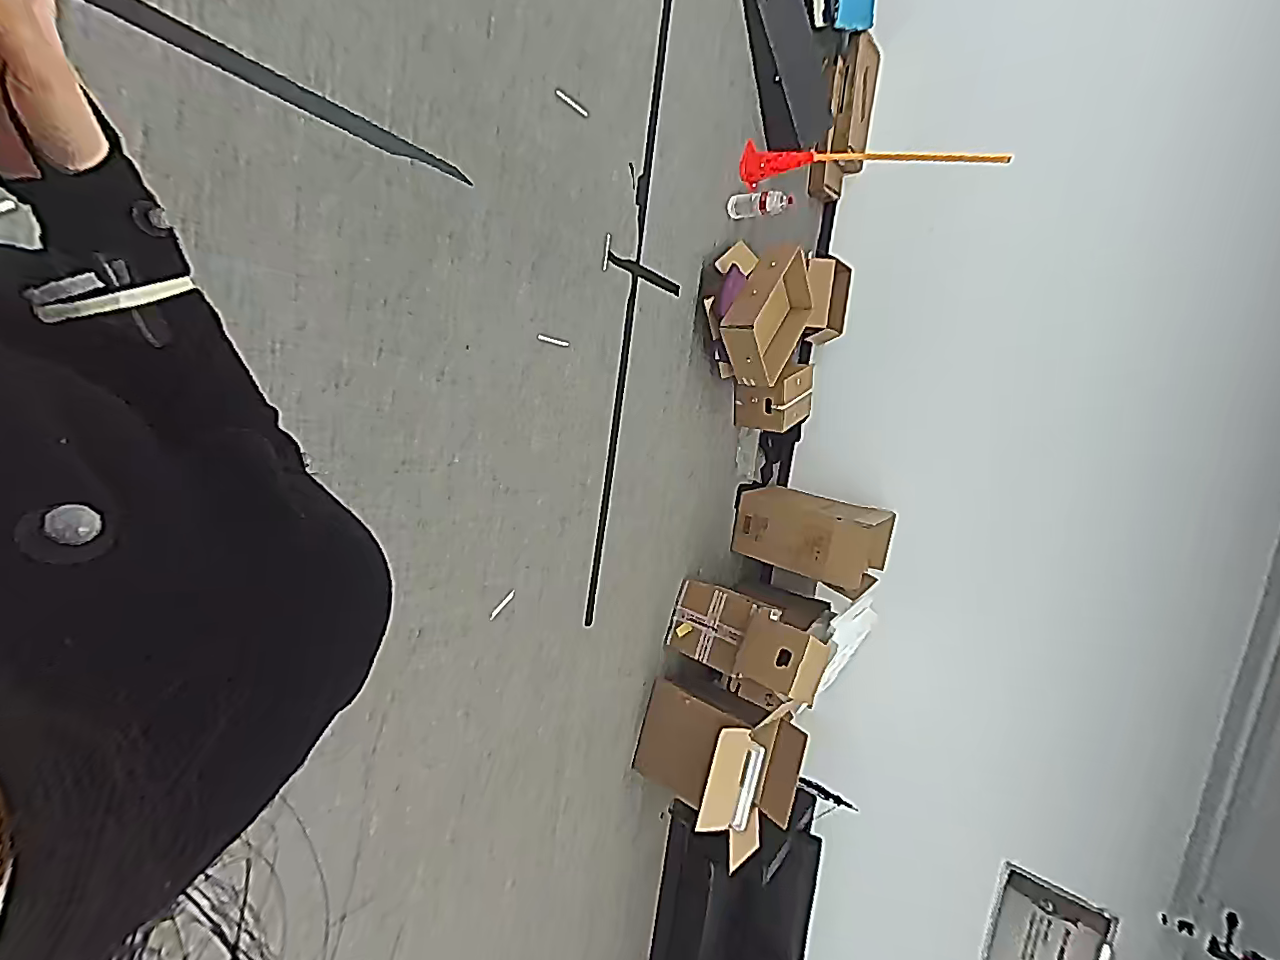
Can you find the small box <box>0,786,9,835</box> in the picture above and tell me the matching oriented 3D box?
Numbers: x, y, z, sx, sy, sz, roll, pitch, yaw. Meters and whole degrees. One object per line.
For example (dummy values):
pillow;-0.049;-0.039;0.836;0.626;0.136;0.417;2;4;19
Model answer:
small box;-1.262;0.615;0.943;0.179;0.176;0.168;12;91;-56
